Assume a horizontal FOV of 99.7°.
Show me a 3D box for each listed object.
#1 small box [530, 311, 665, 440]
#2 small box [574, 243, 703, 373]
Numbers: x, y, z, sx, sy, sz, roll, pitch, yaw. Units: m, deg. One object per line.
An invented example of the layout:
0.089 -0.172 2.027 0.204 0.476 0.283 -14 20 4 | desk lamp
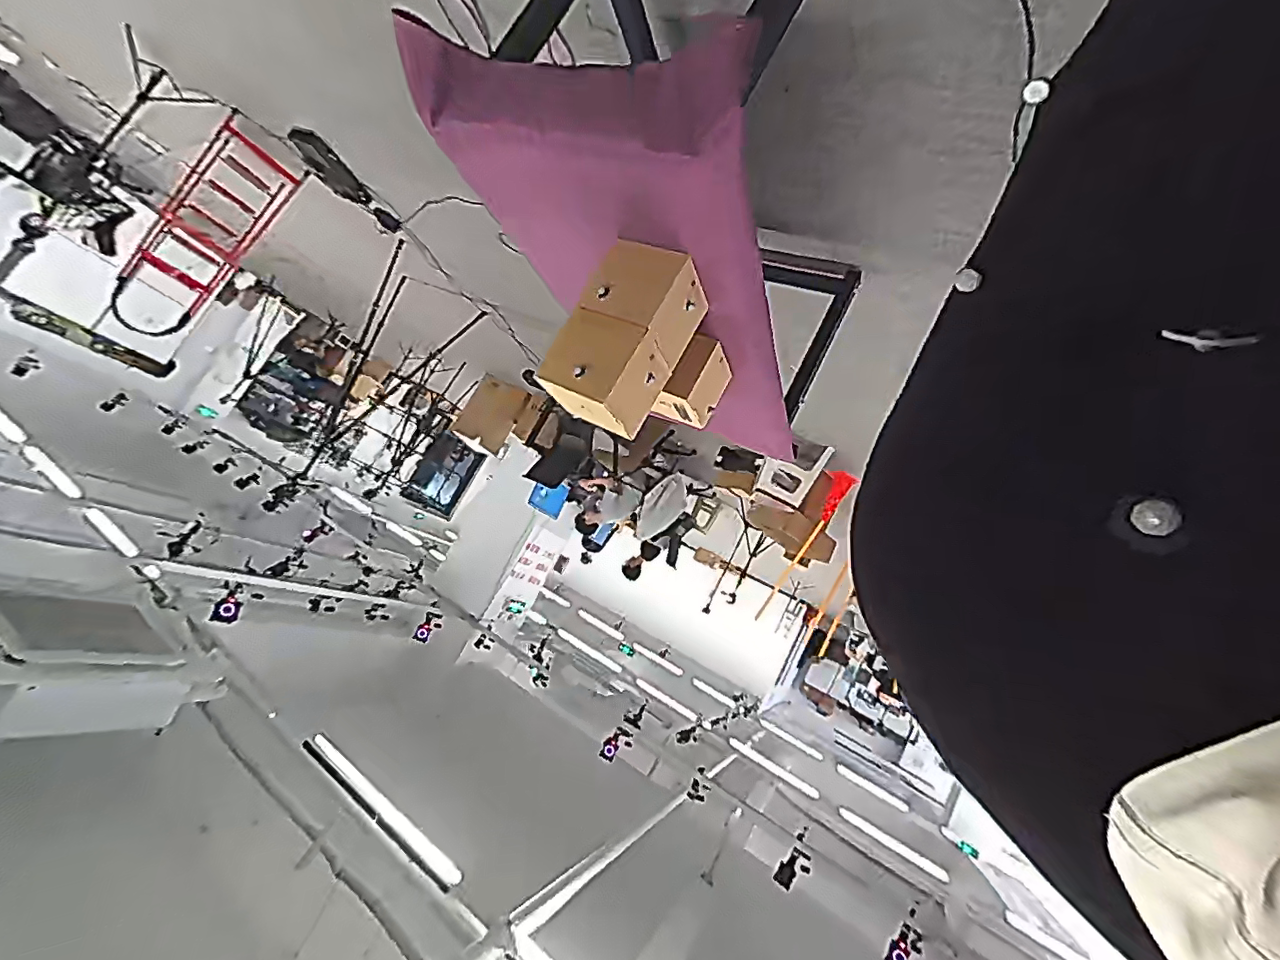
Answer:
-0.077 -0.210 1.074 0.179 0.176 0.168 24 170 25 | small box
0.003 -0.351 1.096 0.179 0.176 0.168 25 171 25 | small box
